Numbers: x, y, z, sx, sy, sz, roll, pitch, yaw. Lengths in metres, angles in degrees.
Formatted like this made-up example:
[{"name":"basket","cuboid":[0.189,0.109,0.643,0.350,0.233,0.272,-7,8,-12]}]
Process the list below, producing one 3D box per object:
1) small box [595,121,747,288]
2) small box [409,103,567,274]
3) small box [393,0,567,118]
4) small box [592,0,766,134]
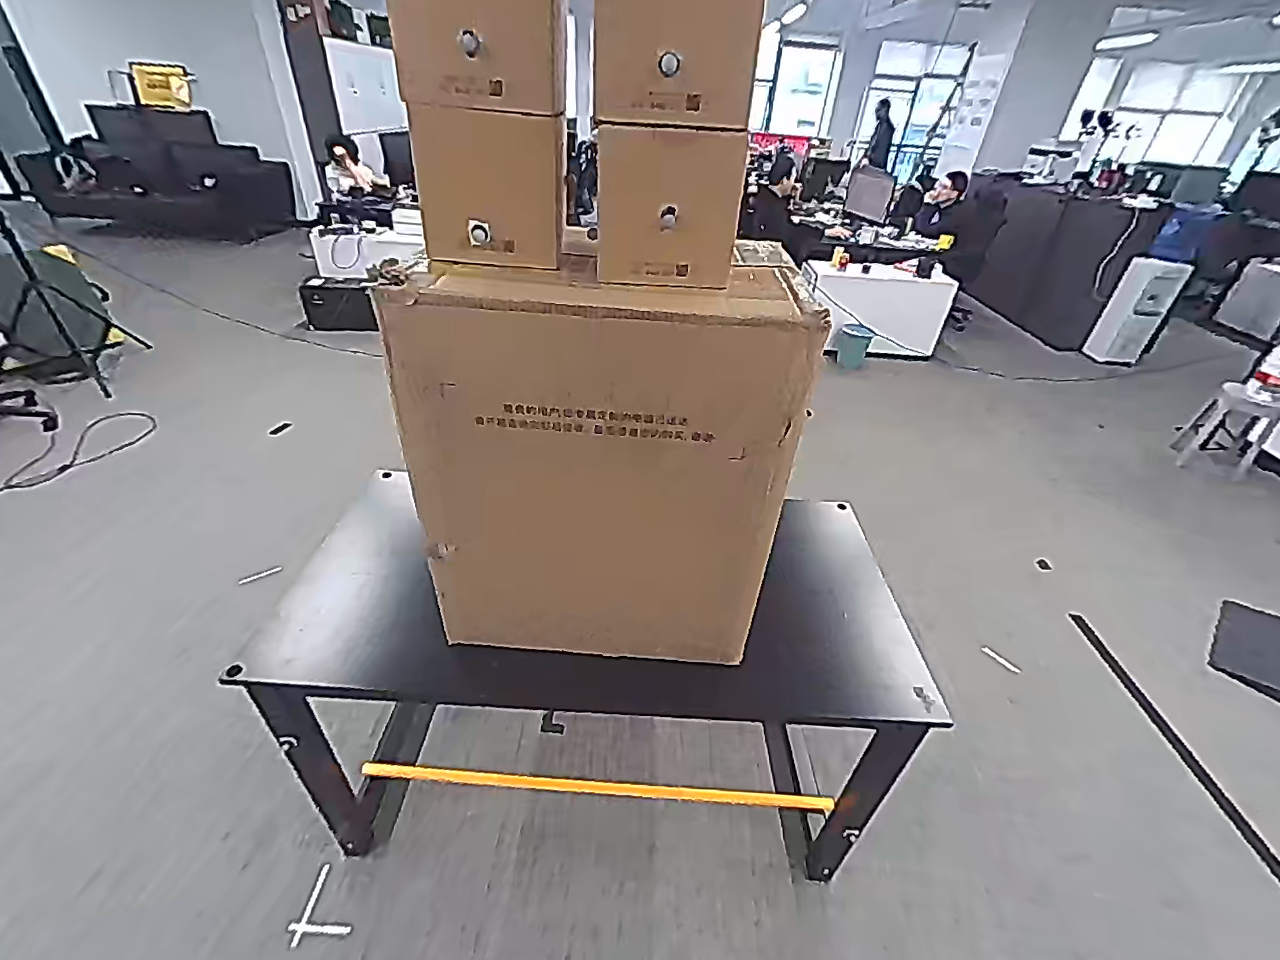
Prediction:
[{"name":"small box","cuboid":[0.031,-0.352,0.685,0.168,0.176,0.179,2,36,-2]},{"name":"small box","cuboid":[-0.182,-0.383,0.706,0.168,0.176,0.179,1,36,-5]},{"name":"small box","cuboid":[-0.172,-0.517,0.610,0.168,0.176,0.179,3,35,-3]},{"name":"small box","cuboid":[0.037,-0.483,0.584,0.168,0.176,0.179,2,36,-1]}]
